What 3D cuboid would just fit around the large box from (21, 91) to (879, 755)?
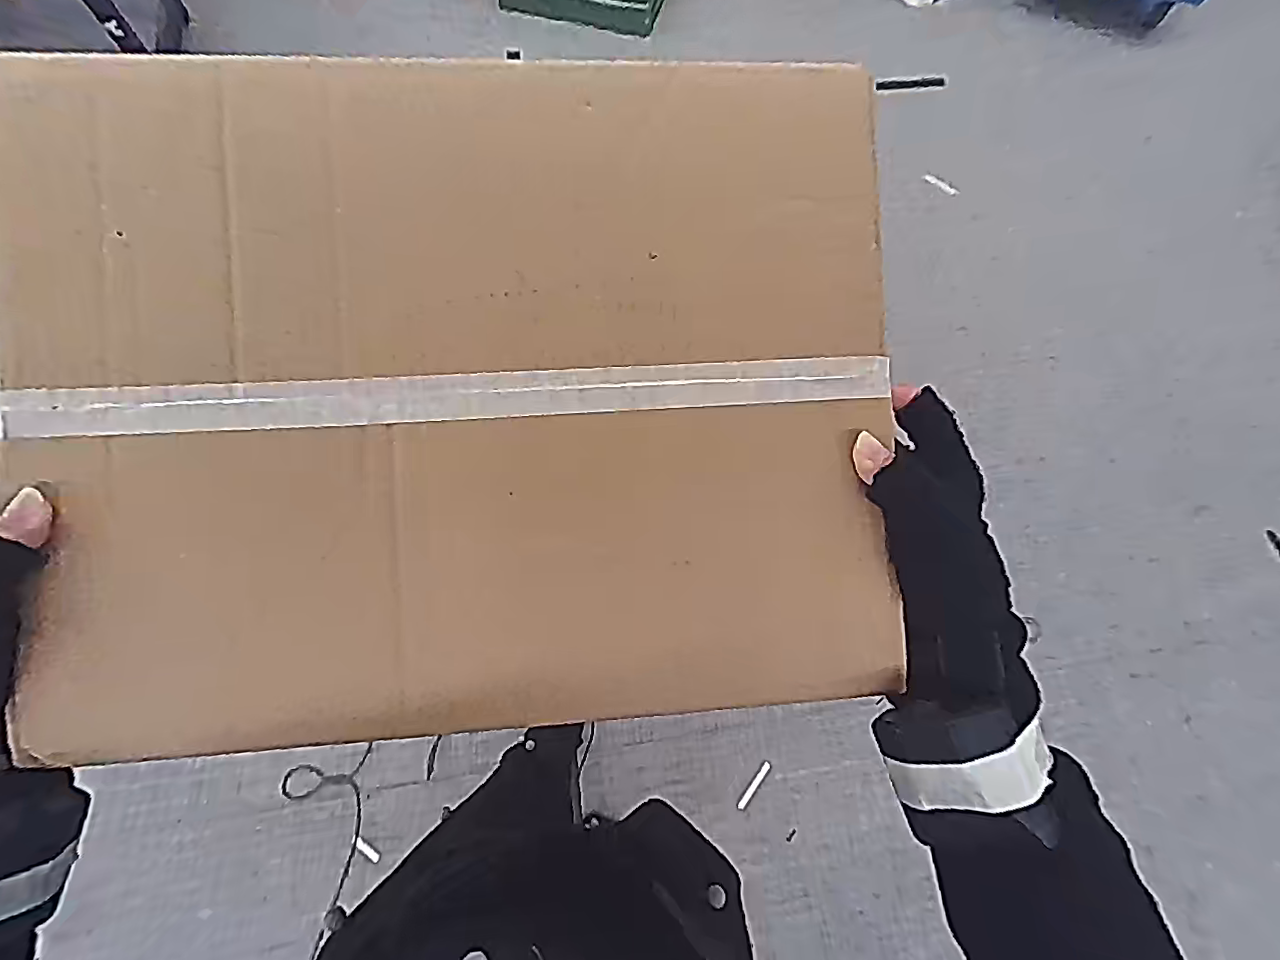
[{"bbox_3d":[-0.090,-0.037,0.413,0.408,0.320,0.320,-3,89,-5],"label":"large box"}]
